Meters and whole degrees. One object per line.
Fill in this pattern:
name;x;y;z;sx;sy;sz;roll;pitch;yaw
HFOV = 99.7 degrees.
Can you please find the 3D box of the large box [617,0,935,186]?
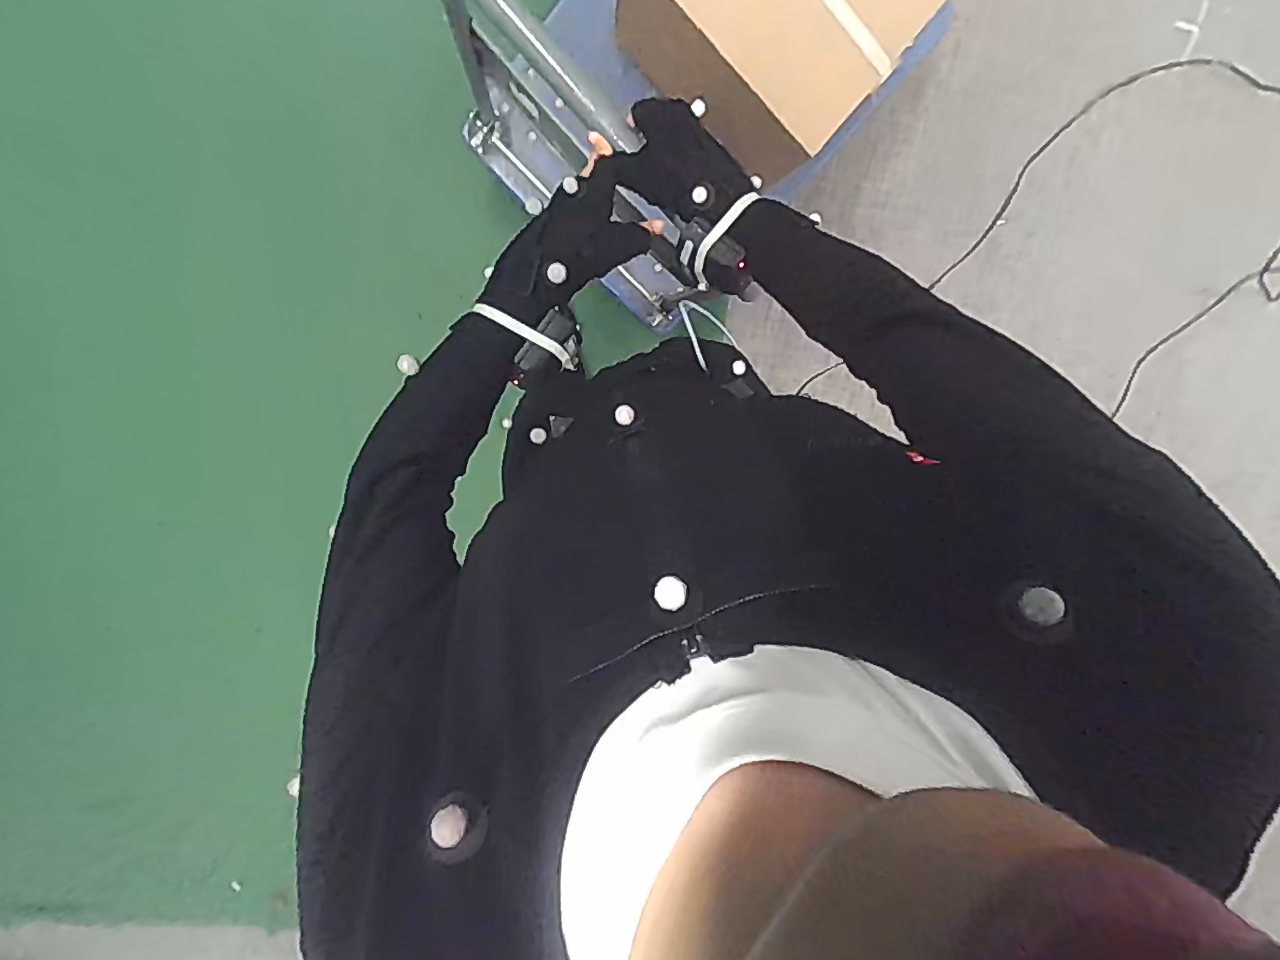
large box;0.209;-0.799;0.926;0.408;0.320;0.320;39;100;-15
